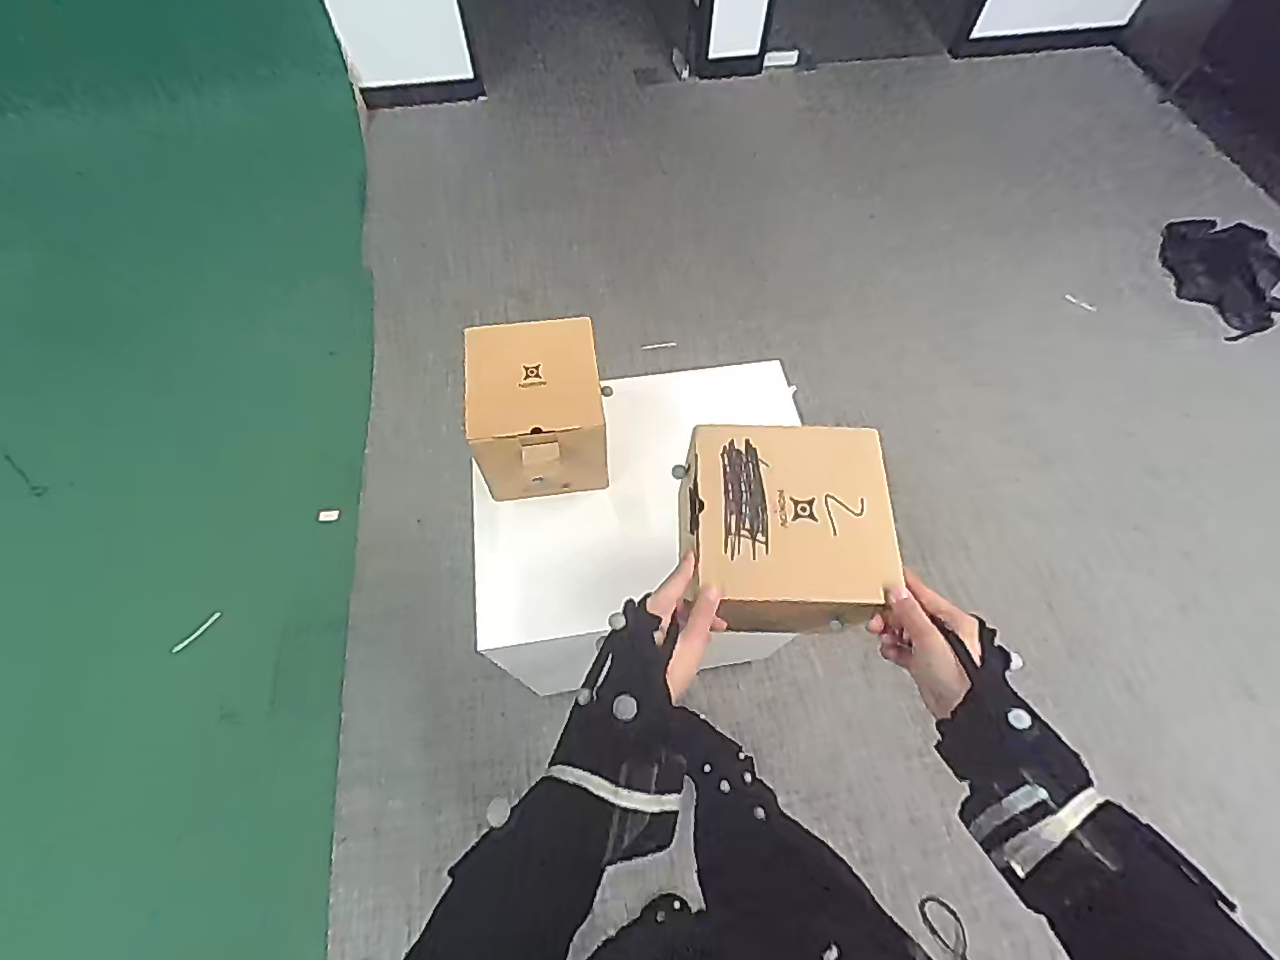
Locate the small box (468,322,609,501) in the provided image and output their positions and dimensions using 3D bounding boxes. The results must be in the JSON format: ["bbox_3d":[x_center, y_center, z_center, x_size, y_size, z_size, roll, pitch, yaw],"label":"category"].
[{"bbox_3d":[-0.134,-0.090,0.742,0.168,0.176,0.179,-6,64,-6],"label":"small box"}]
